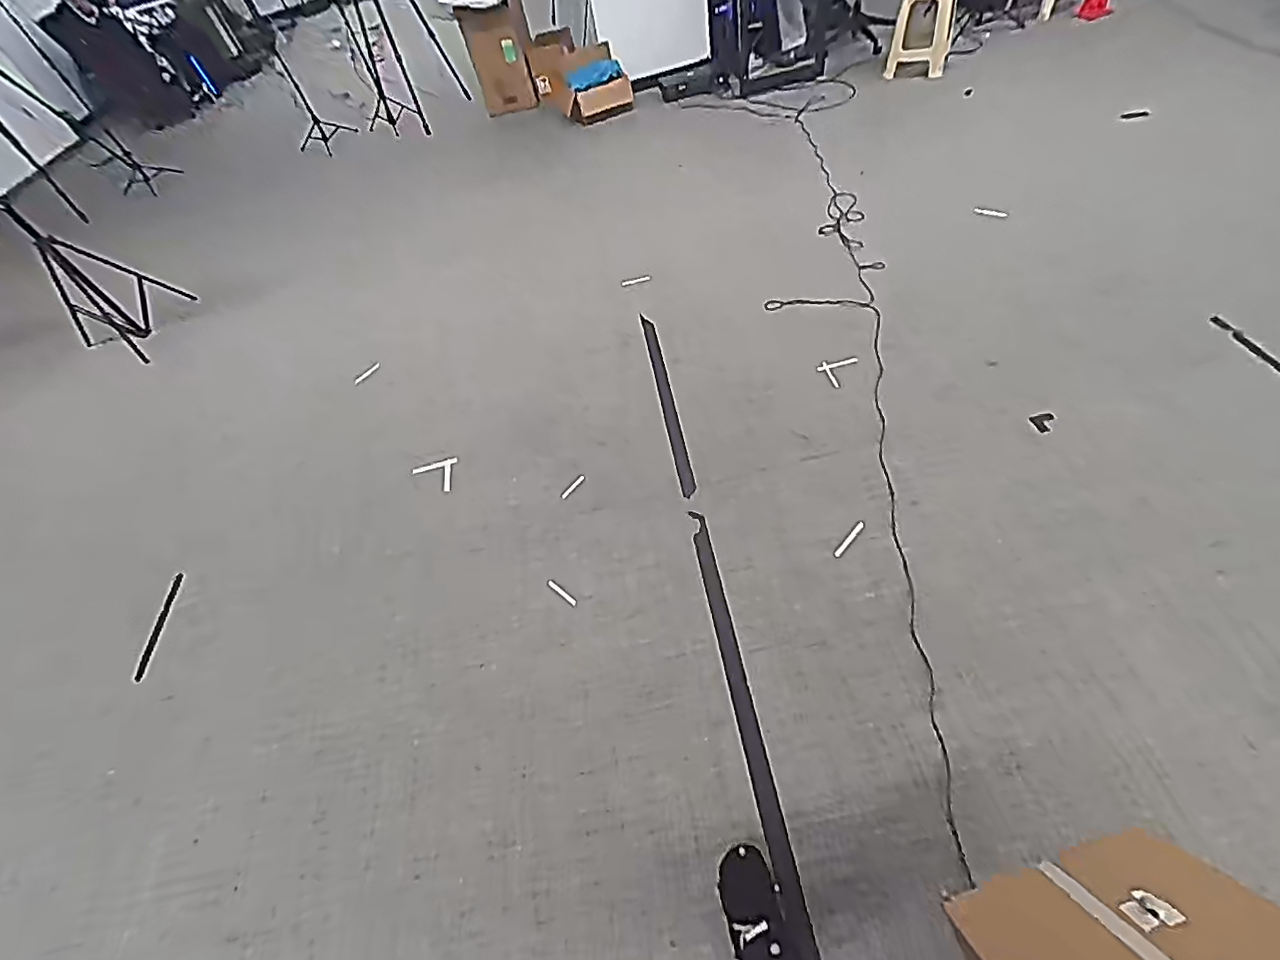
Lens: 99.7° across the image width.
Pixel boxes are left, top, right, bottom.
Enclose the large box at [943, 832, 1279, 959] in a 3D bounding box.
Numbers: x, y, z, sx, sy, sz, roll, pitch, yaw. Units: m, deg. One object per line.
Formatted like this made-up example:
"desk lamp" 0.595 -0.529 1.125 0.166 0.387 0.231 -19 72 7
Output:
"large box" 0.623 0.672 0.564 0.320 0.408 0.320 -20 80 0
